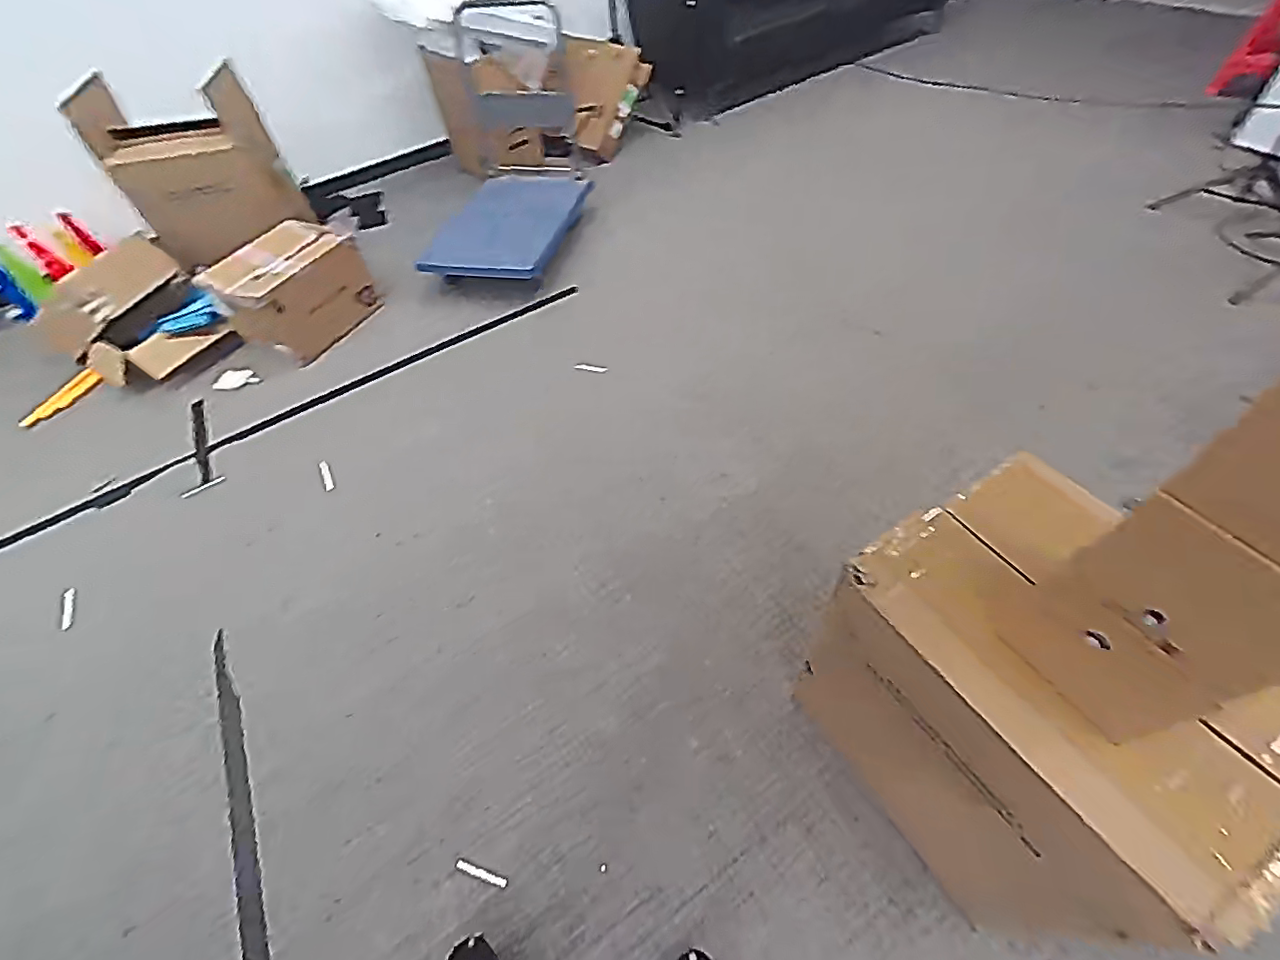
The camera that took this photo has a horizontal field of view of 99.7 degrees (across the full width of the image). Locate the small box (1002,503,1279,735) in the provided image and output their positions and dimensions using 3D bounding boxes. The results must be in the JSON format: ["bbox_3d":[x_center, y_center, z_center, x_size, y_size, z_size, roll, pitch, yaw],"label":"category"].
[{"bbox_3d":[0.583,0.166,0.640,0.168,0.176,0.179,-28,54,-13],"label":"small box"}]

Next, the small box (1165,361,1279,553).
[{"bbox_3d":[0.553,-0.030,0.377,0.168,0.176,0.179,-28,54,-13],"label":"small box"}]
